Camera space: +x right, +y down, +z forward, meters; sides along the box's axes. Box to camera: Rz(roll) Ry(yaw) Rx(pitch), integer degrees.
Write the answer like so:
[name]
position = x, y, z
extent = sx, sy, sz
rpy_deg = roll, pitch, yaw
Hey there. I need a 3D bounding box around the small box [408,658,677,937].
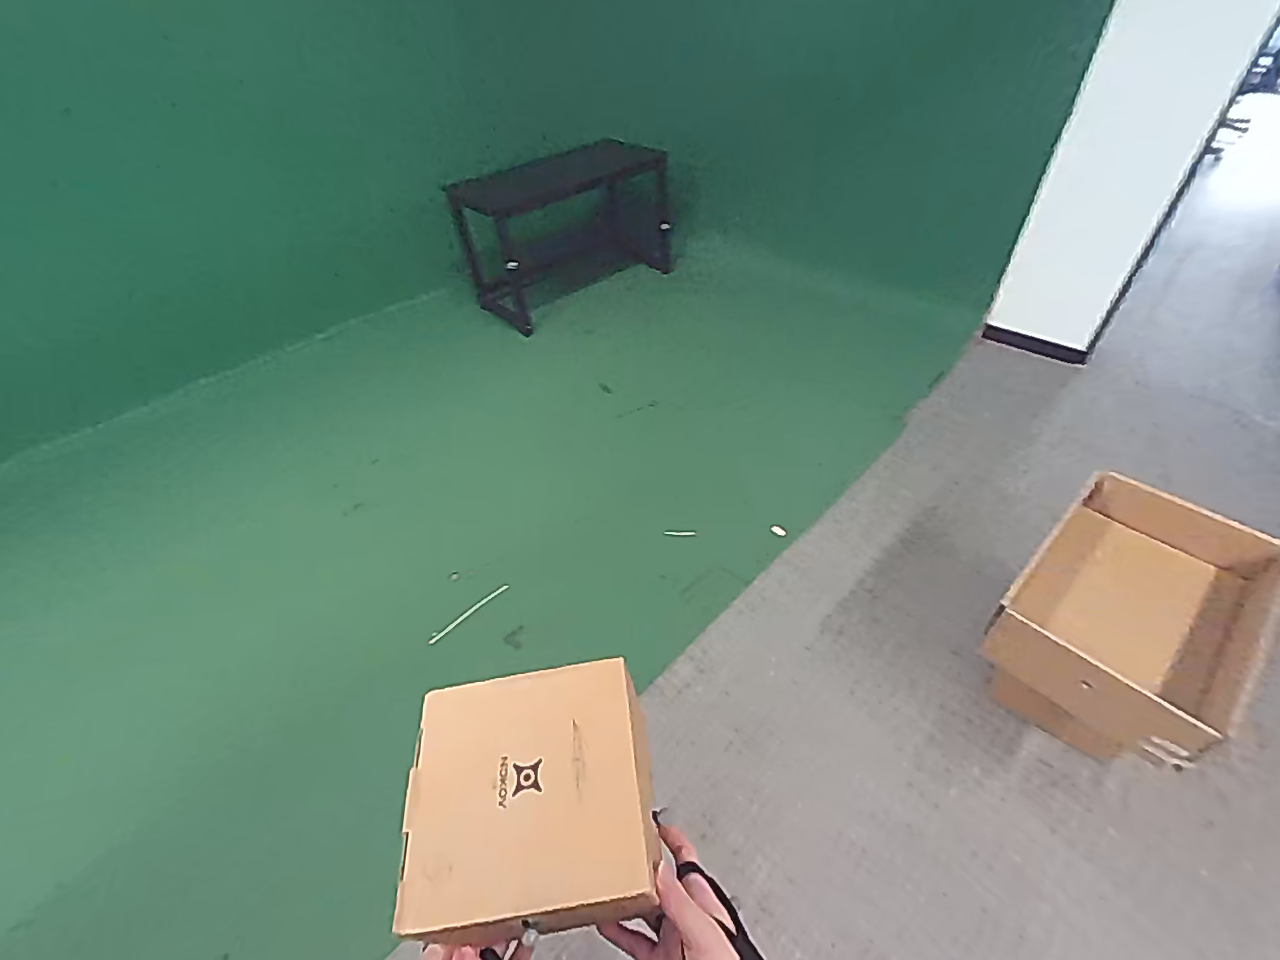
[small box]
position = -0.068, 0.278, 0.470
extent = 0.179, 0.176, 0.168
rpy_deg = -8, 47, 0
